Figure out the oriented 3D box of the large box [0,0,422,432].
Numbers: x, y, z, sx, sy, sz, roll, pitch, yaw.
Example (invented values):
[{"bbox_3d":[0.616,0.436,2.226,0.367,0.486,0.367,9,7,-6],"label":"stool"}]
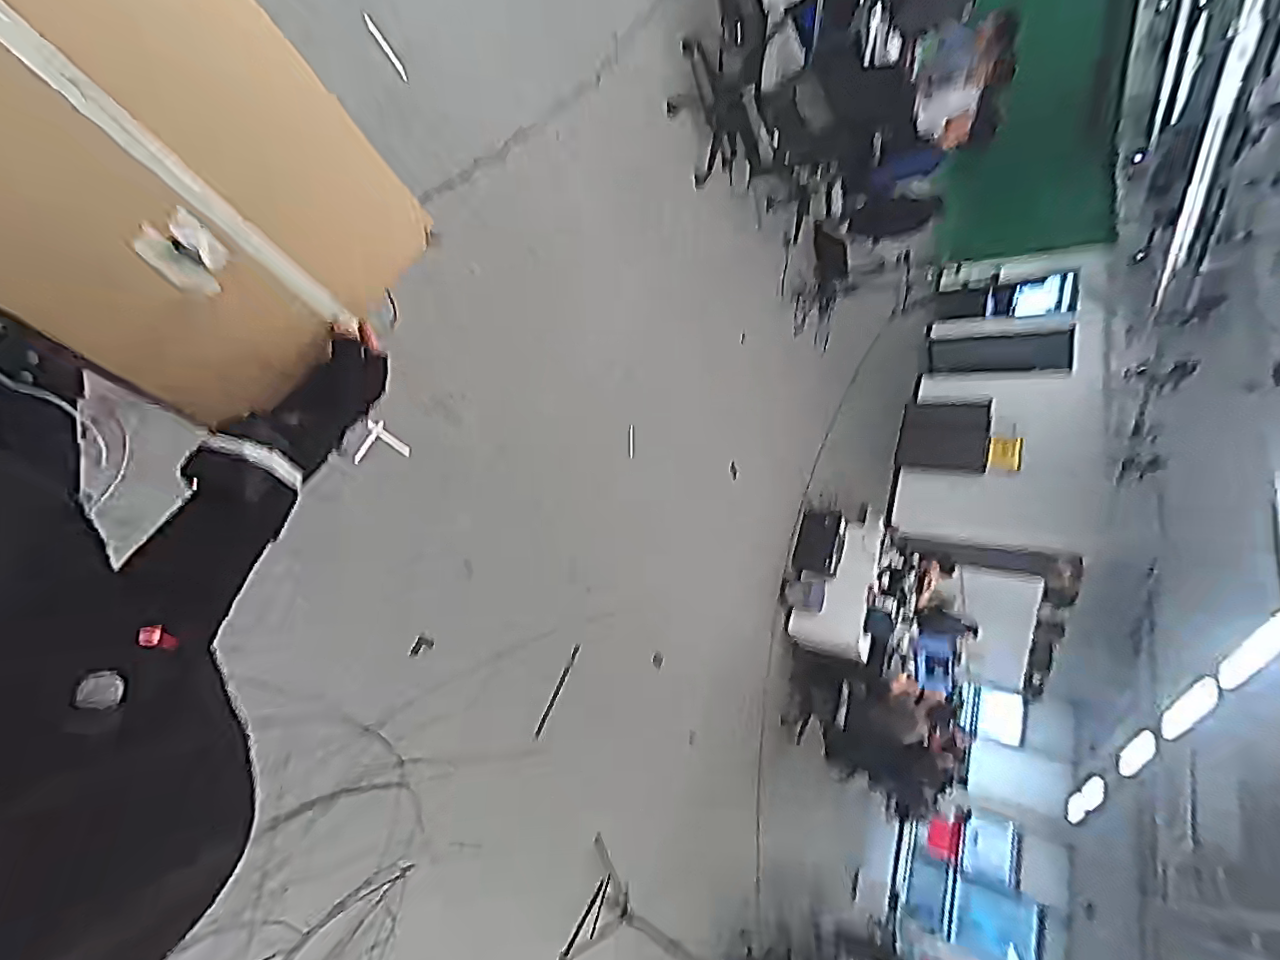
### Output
[{"bbox_3d":[-0.514,-0.300,0.501,0.320,0.320,0.408,-61,144,-17],"label":"large box"}]
